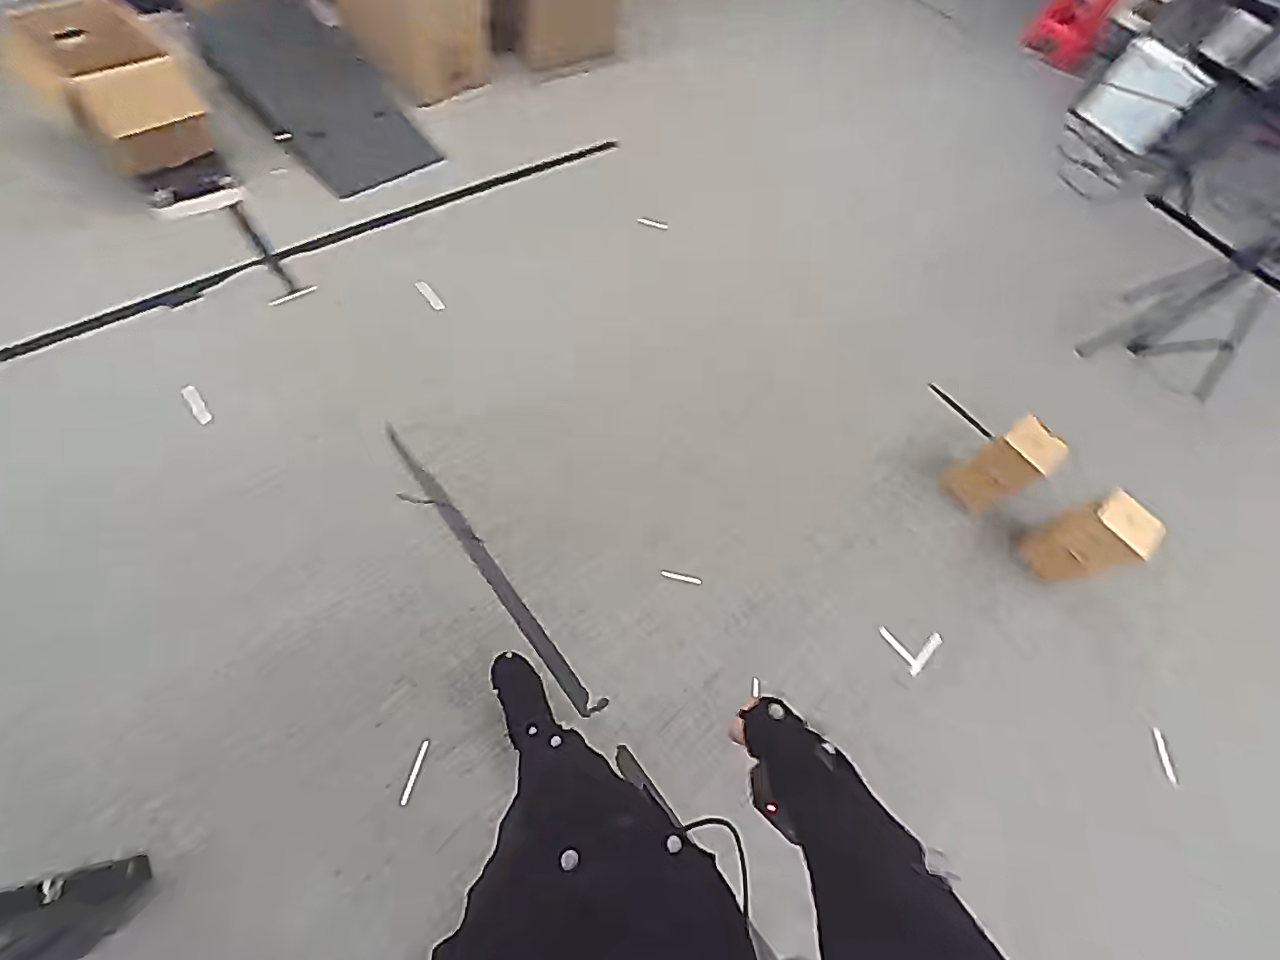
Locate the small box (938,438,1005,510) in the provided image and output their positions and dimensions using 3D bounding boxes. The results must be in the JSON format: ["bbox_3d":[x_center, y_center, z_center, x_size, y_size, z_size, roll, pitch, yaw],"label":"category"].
[{"bbox_3d":[1.209,-0.025,1.923,0.179,0.176,0.168,-34,74,-24],"label":"small box"}]

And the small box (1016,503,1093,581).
[{"bbox_3d":[1.435,0.218,1.846,0.179,0.176,0.168,-38,76,-26],"label":"small box"}]

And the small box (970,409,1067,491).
[{"bbox_3d":[1.234,-0.094,1.777,0.179,0.176,0.168,-34,74,-25],"label":"small box"}]

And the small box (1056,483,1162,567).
[{"bbox_3d":[1.467,0.147,1.703,0.179,0.176,0.168,-37,76,-26],"label":"small box"}]
